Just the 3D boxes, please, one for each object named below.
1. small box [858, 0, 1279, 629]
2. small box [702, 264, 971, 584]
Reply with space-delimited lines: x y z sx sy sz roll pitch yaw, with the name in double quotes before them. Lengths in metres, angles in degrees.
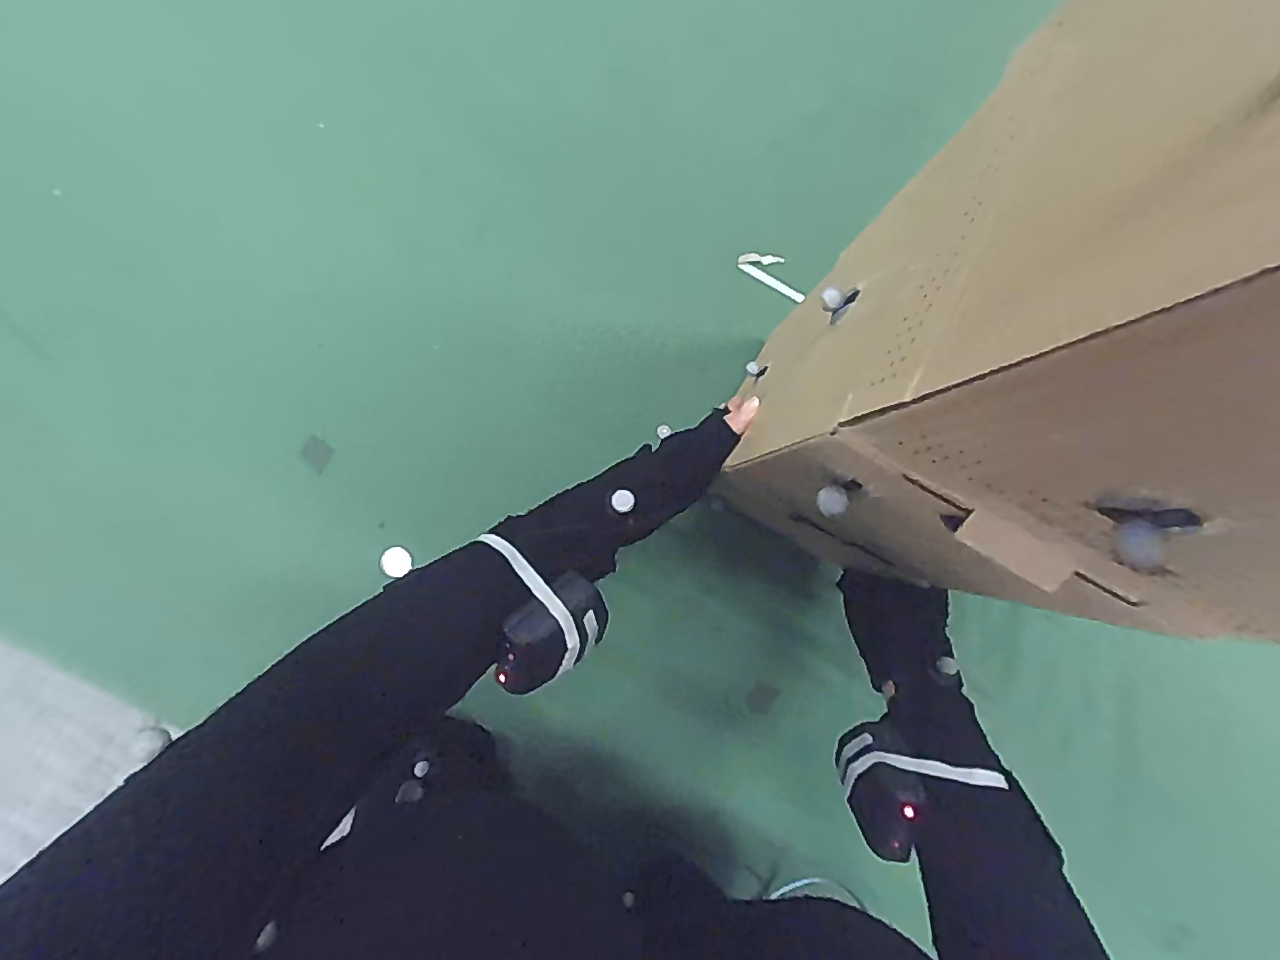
"small box" 0.187 -0.065 0.134 0.168 0.176 0.179 27 85 -2
"small box" 0.166 -0.035 0.459 0.168 0.176 0.179 30 84 -1
